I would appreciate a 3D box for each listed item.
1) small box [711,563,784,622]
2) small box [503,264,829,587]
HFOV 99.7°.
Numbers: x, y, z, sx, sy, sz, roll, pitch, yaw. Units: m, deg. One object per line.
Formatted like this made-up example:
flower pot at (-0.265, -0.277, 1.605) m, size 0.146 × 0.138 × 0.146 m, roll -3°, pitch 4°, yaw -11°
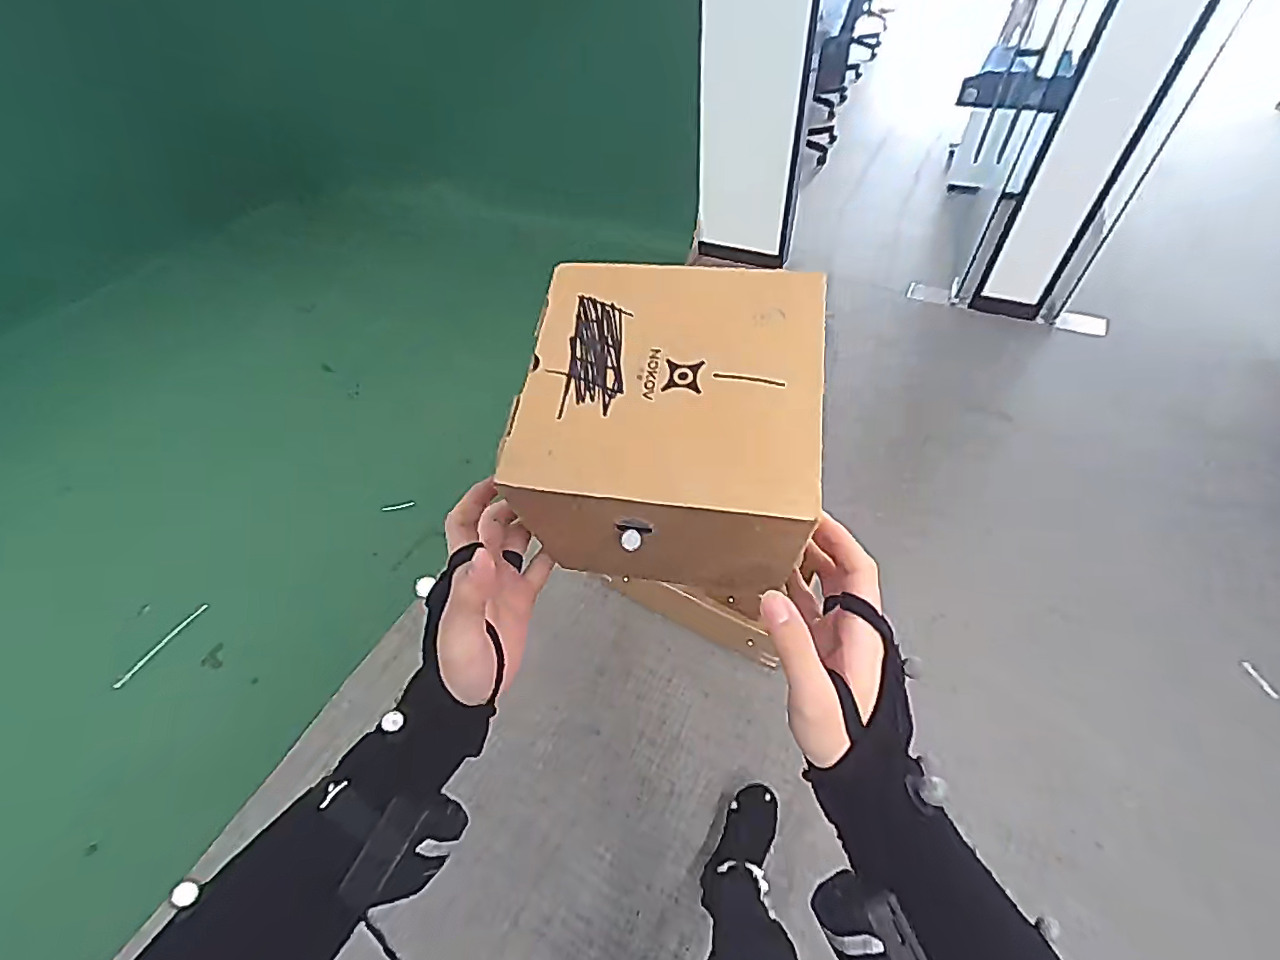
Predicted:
small box at (0.321, 0.294, 1.620) m, size 0.168 × 0.176 × 0.179 m, roll 24°, pitch 57°, yaw 23°
small box at (0.028, -0.029, 0.392) m, size 0.179 × 0.176 × 0.168 m, roll 7°, pitch 66°, yaw 8°
